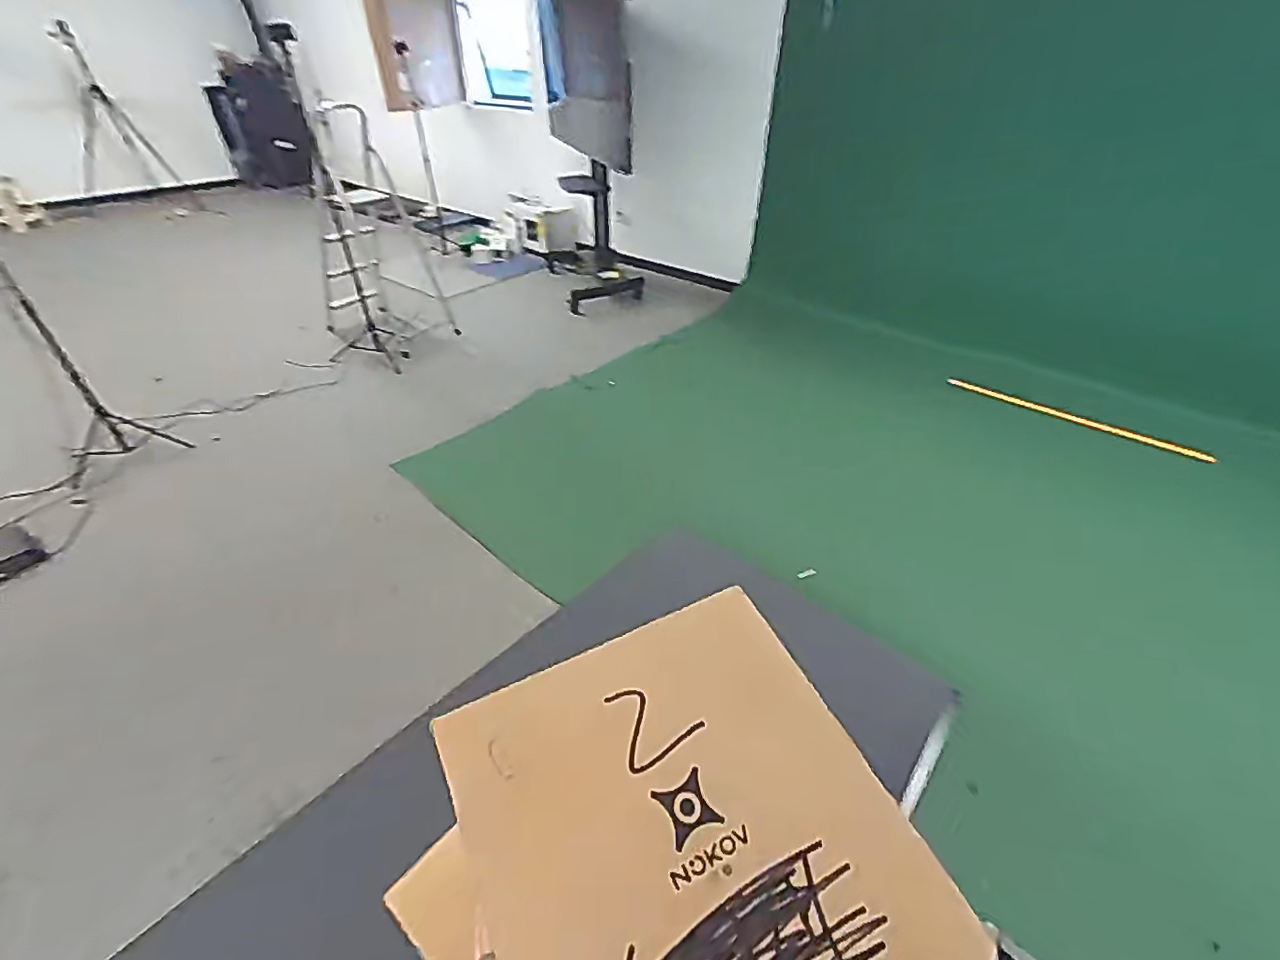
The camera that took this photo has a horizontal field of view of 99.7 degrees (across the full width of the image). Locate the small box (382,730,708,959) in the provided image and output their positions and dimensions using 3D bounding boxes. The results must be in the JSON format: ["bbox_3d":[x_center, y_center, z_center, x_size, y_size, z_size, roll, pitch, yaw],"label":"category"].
[{"bbox_3d":[-0.068,0.353,0.433,0.179,0.176,0.168,27,45,31],"label":"small box"}]
